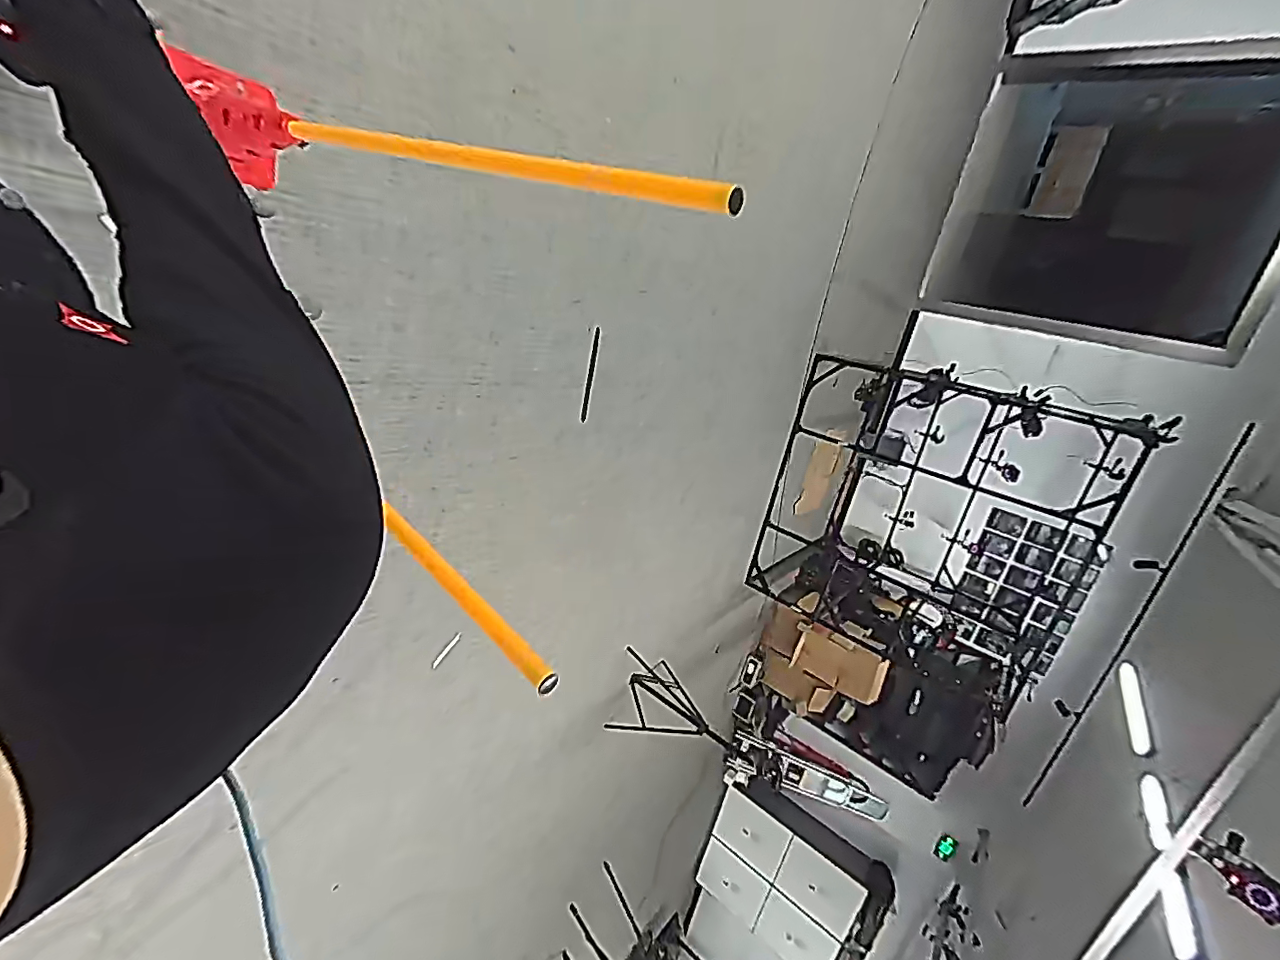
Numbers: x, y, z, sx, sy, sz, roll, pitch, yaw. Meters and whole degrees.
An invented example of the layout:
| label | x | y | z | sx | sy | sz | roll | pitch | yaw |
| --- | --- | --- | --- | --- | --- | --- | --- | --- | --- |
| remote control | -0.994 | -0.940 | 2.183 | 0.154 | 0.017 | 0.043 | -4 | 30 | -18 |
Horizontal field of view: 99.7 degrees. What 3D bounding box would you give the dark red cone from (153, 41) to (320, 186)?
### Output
| label | x | y | z | sx | sy | sz | roll | pitch | yaw |
| --- | --- | --- | --- | --- | --- | --- | --- | --- | --- |
| dark red cone | -0.696 | -0.656 | 0.981 | 0.201 | 0.394 | 0.202 | -13 | 122 | -53 |
